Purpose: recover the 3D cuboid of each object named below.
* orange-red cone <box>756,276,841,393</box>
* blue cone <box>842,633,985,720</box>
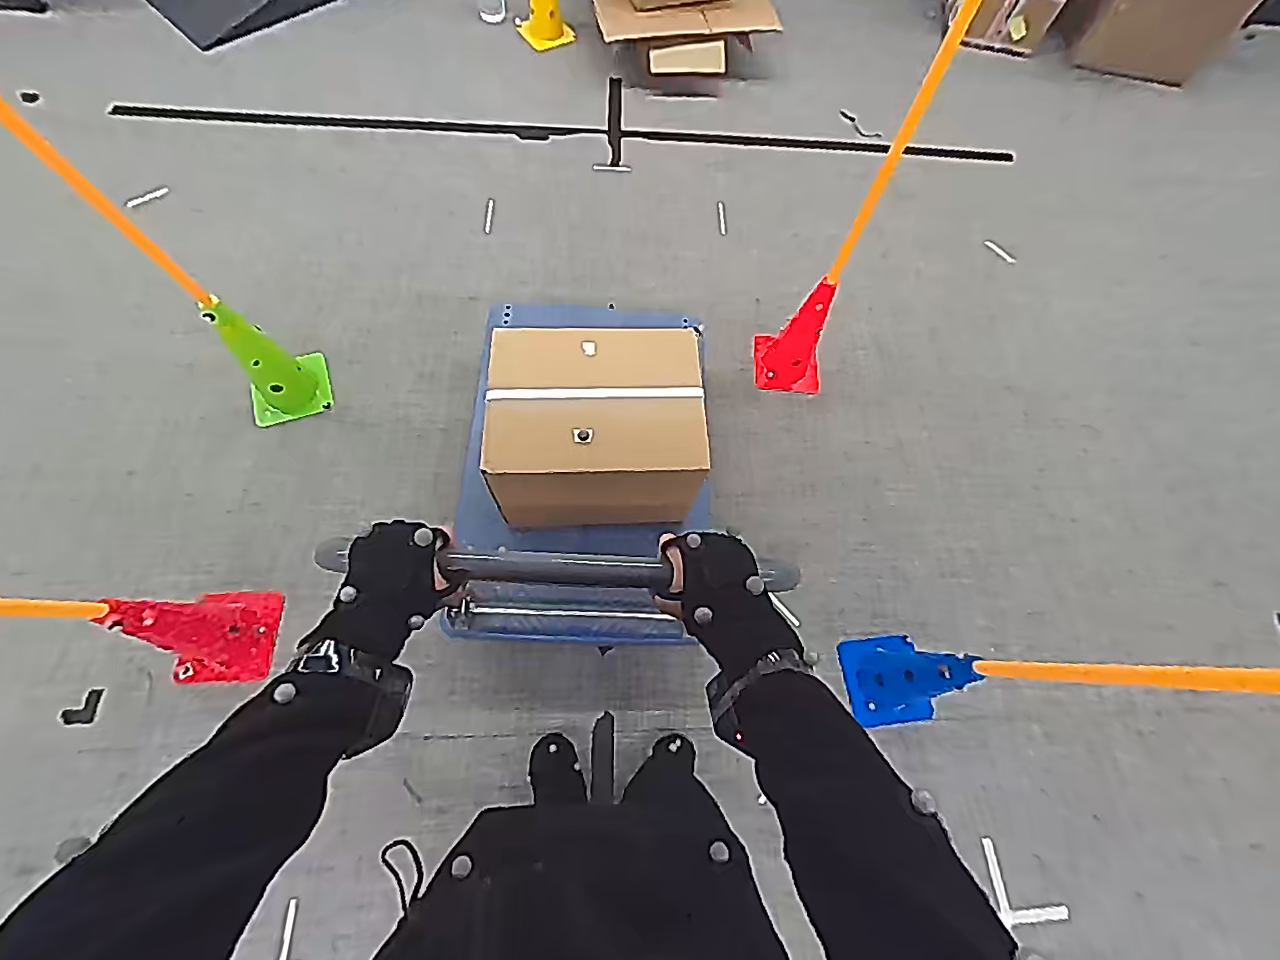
[{"bbox_3d":[0.470,-0.426,1.501,0.199,0.360,0.198,7,67,-3],"label":"orange-red cone"},{"bbox_3d":[0.614,0.410,1.169,0.193,0.380,0.192,-3,66,-6],"label":"blue cone"}]
